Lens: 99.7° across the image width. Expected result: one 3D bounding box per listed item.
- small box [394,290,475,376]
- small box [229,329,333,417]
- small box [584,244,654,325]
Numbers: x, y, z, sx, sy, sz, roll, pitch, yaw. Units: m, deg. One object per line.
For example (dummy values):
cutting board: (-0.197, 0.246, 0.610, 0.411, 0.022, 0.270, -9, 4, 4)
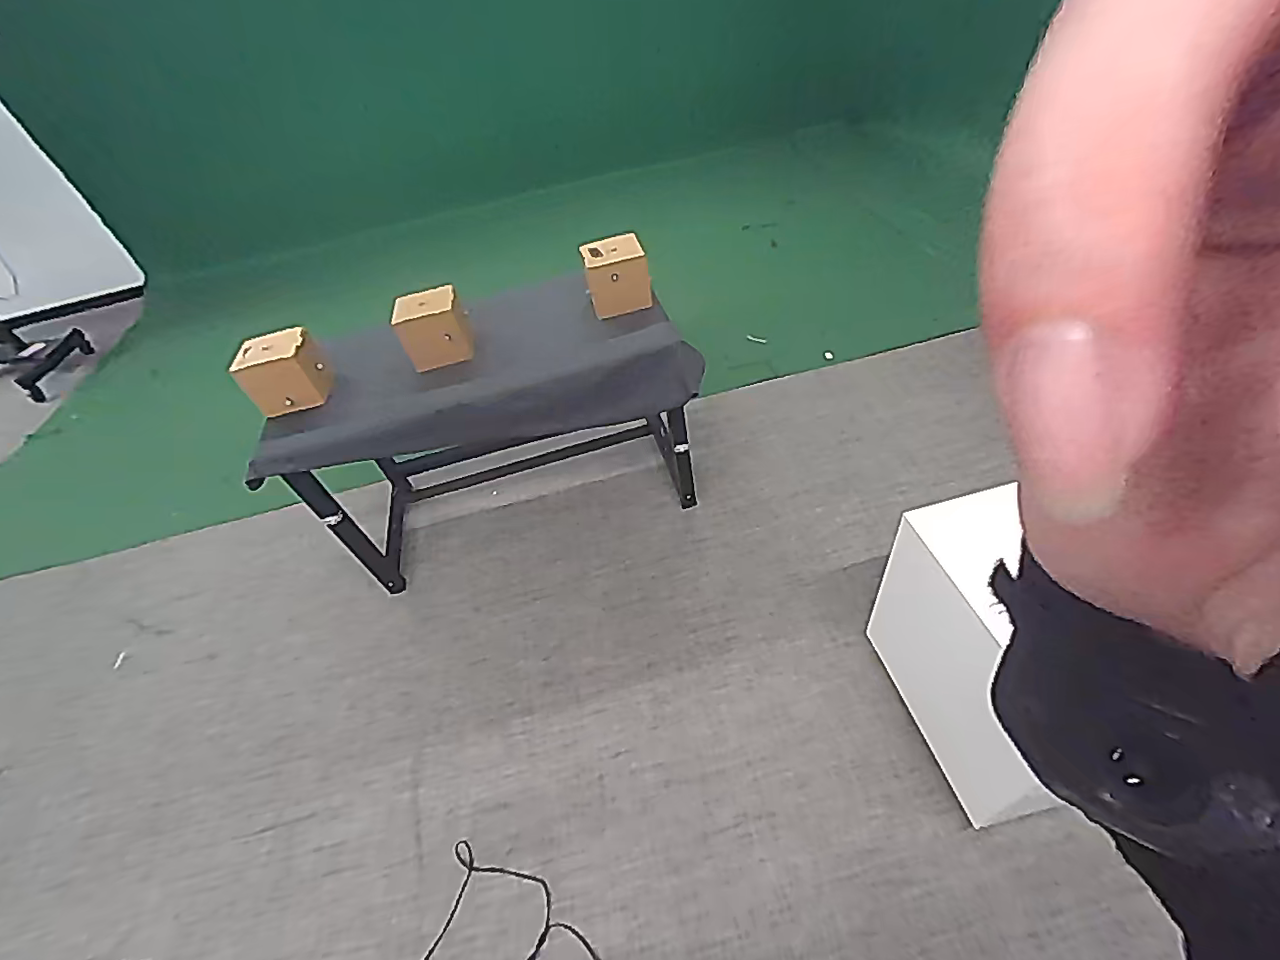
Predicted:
small box: (-0.604, -0.436, 1.611, 0.179, 0.176, 0.168, -15, 44, -3)
small box: (-1.020, -0.305, 1.556, 0.179, 0.176, 0.168, -14, 44, -5)
small box: (-0.064, -0.597, 1.663, 0.179, 0.176, 0.168, -13, 45, -3)
